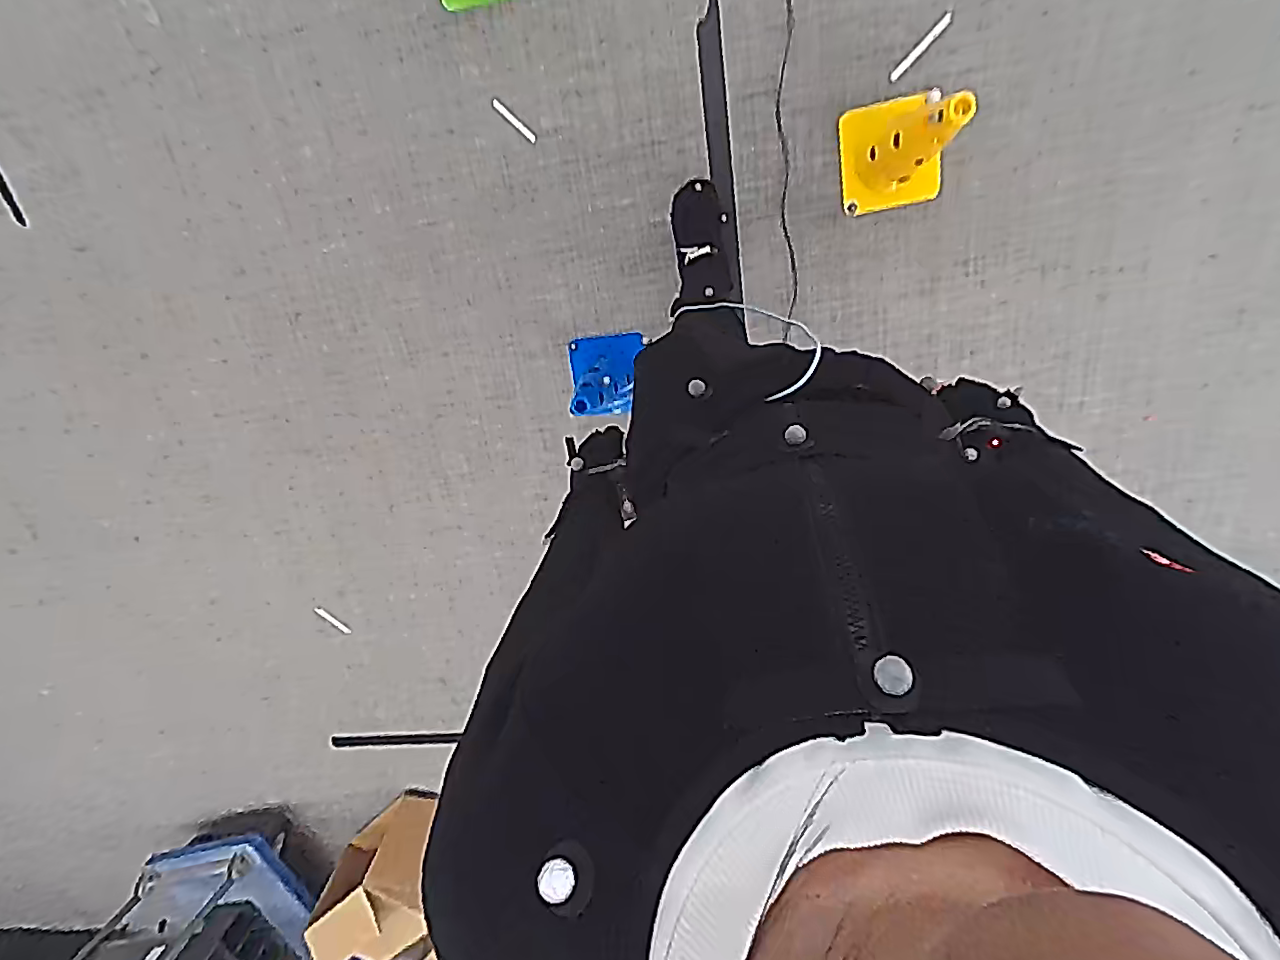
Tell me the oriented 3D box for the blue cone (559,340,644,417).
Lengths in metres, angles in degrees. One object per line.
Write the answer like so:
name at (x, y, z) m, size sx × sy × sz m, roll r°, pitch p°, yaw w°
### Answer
blue cone at (-0.109, -0.206, 1.241) m, size 0.192 × 0.380 × 0.193 m, roll -2°, pitch 110°, yaw 9°

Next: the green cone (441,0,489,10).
green cone at (-0.361, -1.038, 0.942) m, size 0.202 × 0.368 × 0.200 m, roll -6°, pitch 110°, yaw 10°
